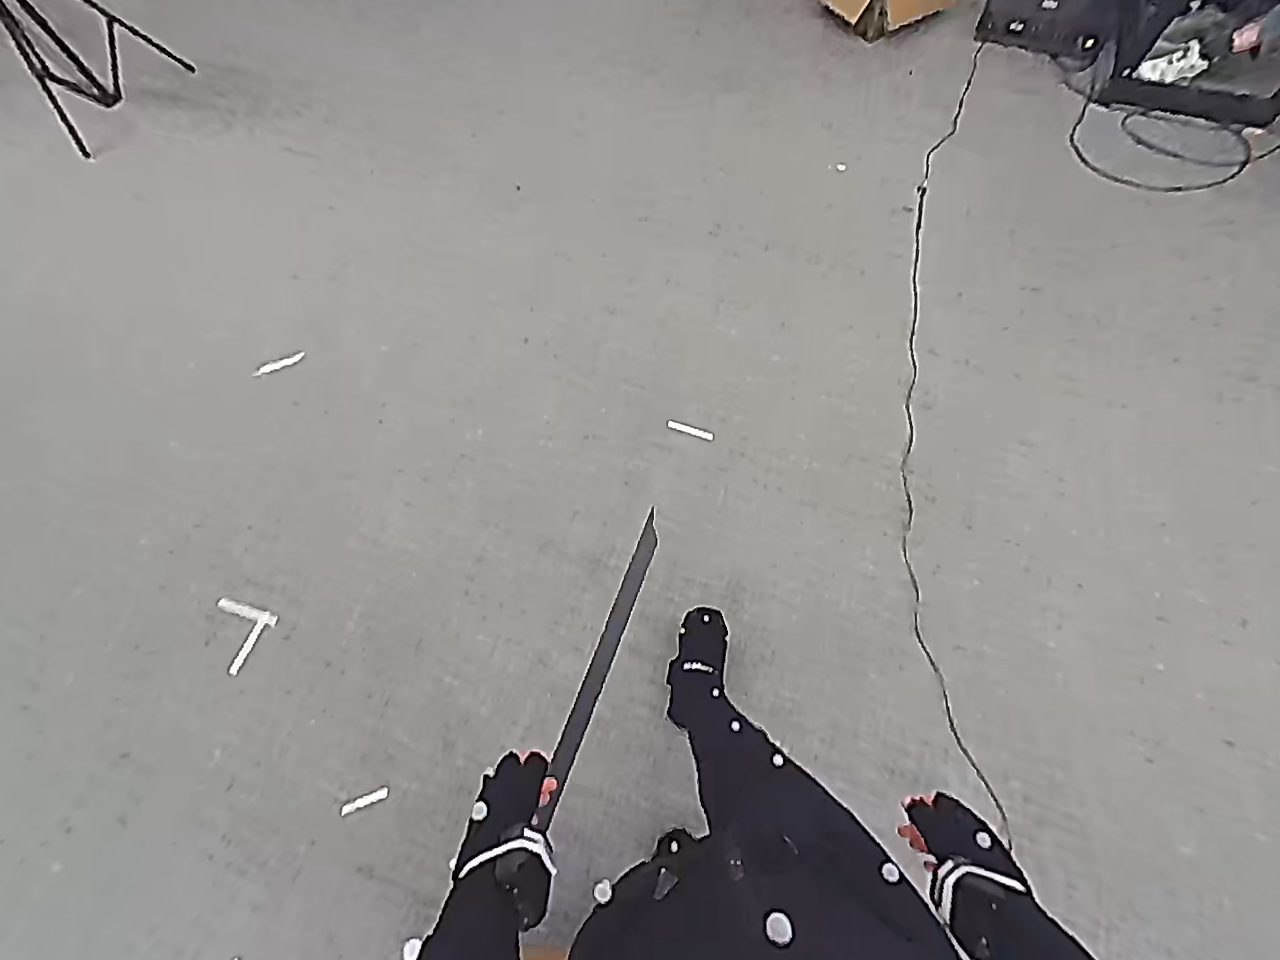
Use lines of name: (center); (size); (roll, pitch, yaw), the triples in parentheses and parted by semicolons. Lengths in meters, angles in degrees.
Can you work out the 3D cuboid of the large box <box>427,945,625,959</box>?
large box: (-0.232, 1.045, 0.928); (0.408, 0.320, 0.320); (-1, 66, 1)
